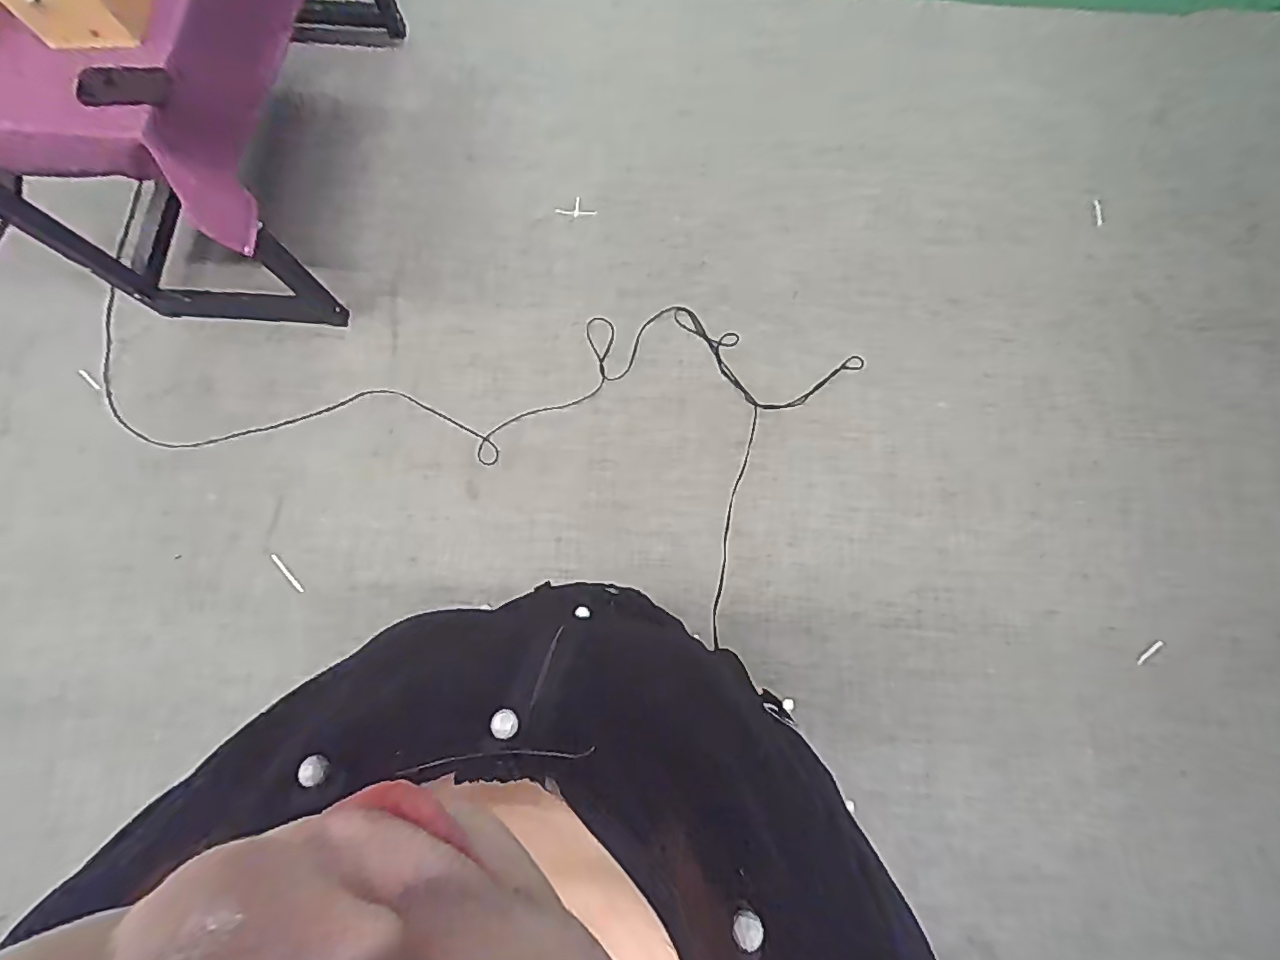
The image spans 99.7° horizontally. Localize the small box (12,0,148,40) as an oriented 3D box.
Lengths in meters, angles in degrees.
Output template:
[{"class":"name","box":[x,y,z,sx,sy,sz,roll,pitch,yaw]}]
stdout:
[{"class":"small box","box":[-0.998,-0.903,0.931,0.168,0.176,0.179,-2,77,-1]}]
